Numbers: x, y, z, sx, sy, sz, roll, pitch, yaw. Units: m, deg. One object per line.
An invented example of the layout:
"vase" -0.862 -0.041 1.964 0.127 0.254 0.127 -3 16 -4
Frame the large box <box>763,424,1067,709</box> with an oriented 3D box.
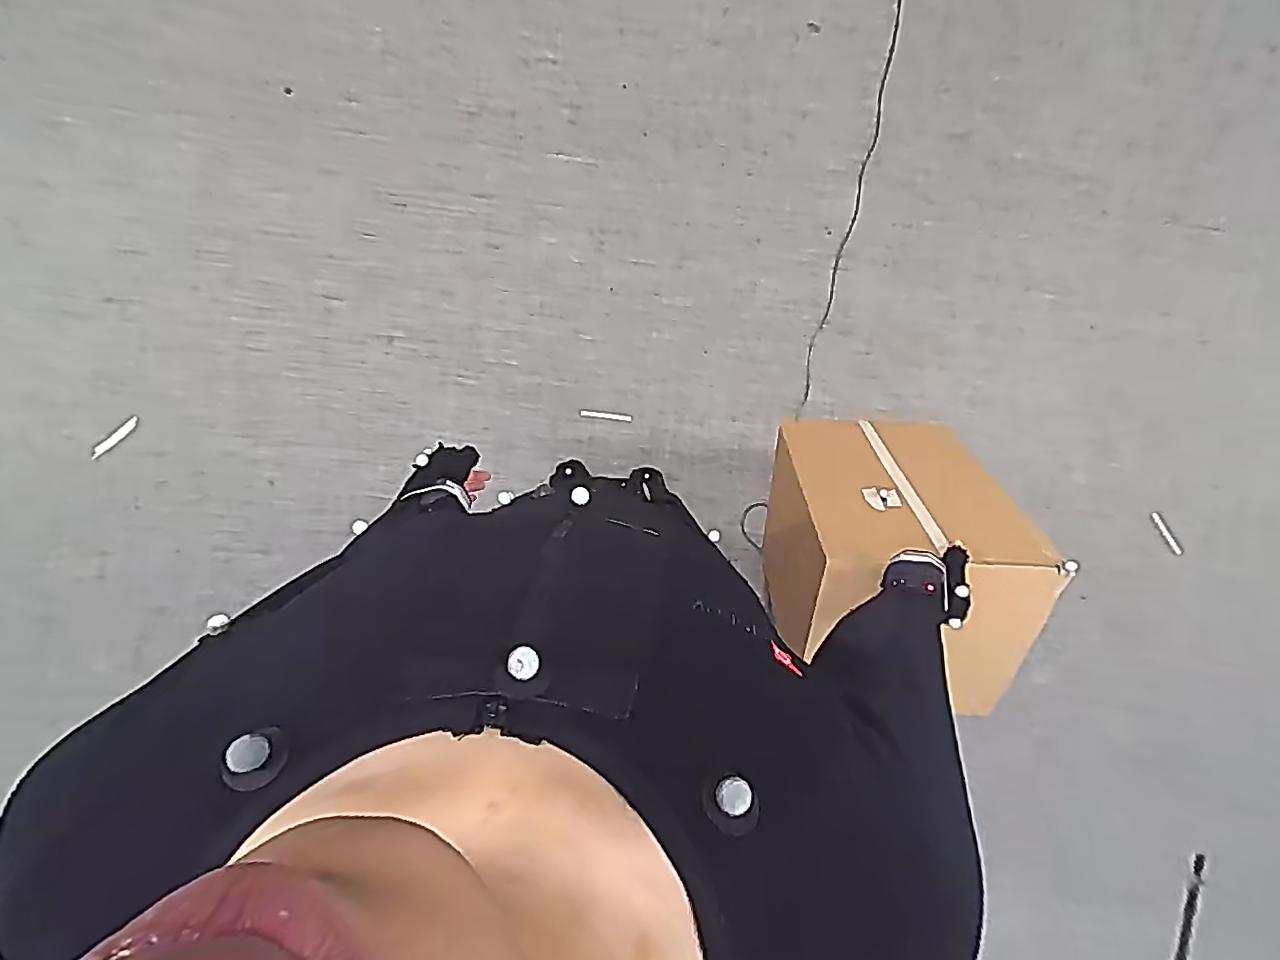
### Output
"large box" 0.418 0.132 0.960 0.320 0.408 0.320 1 124 3
